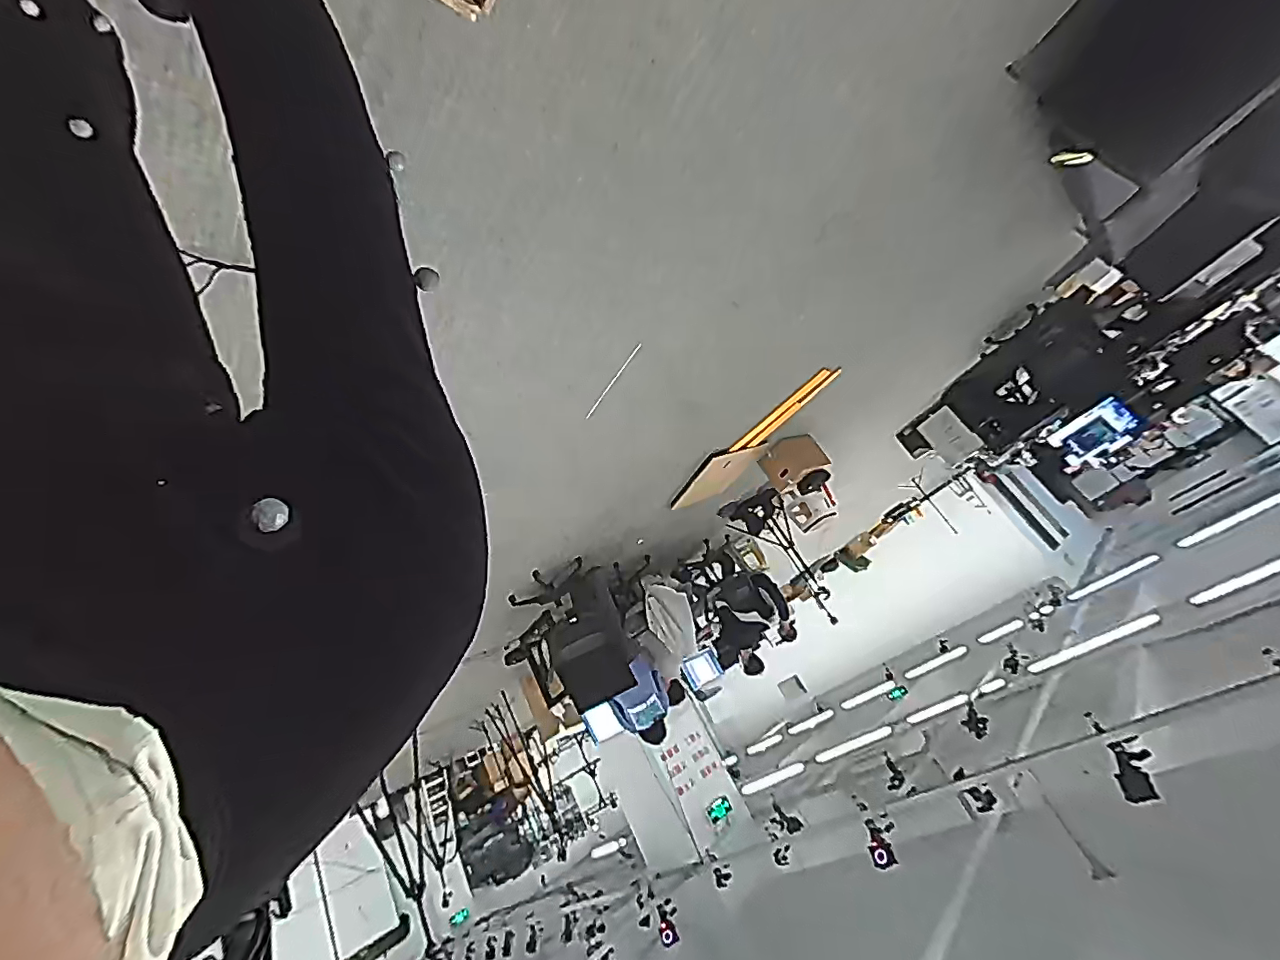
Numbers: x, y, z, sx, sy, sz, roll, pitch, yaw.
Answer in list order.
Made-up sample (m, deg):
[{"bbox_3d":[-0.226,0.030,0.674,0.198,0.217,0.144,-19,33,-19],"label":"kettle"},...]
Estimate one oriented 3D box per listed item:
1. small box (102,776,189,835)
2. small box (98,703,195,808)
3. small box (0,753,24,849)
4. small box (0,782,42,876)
[{"bbox_3d":[-1.410,0.863,1.539,0.168,0.176,0.179,-5,147,-46],"label":"small box"},{"bbox_3d":[-1.252,0.693,1.373,0.168,0.176,0.179,-6,148,-46],"label":"small box"},{"bbox_3d":[-1.467,0.721,1.171,0.168,0.176,0.179,-6,147,-46],"label":"small box"},{"bbox_3d":[-1.606,0.878,1.331,0.168,0.176,0.179,-8,147,-46],"label":"small box"}]
